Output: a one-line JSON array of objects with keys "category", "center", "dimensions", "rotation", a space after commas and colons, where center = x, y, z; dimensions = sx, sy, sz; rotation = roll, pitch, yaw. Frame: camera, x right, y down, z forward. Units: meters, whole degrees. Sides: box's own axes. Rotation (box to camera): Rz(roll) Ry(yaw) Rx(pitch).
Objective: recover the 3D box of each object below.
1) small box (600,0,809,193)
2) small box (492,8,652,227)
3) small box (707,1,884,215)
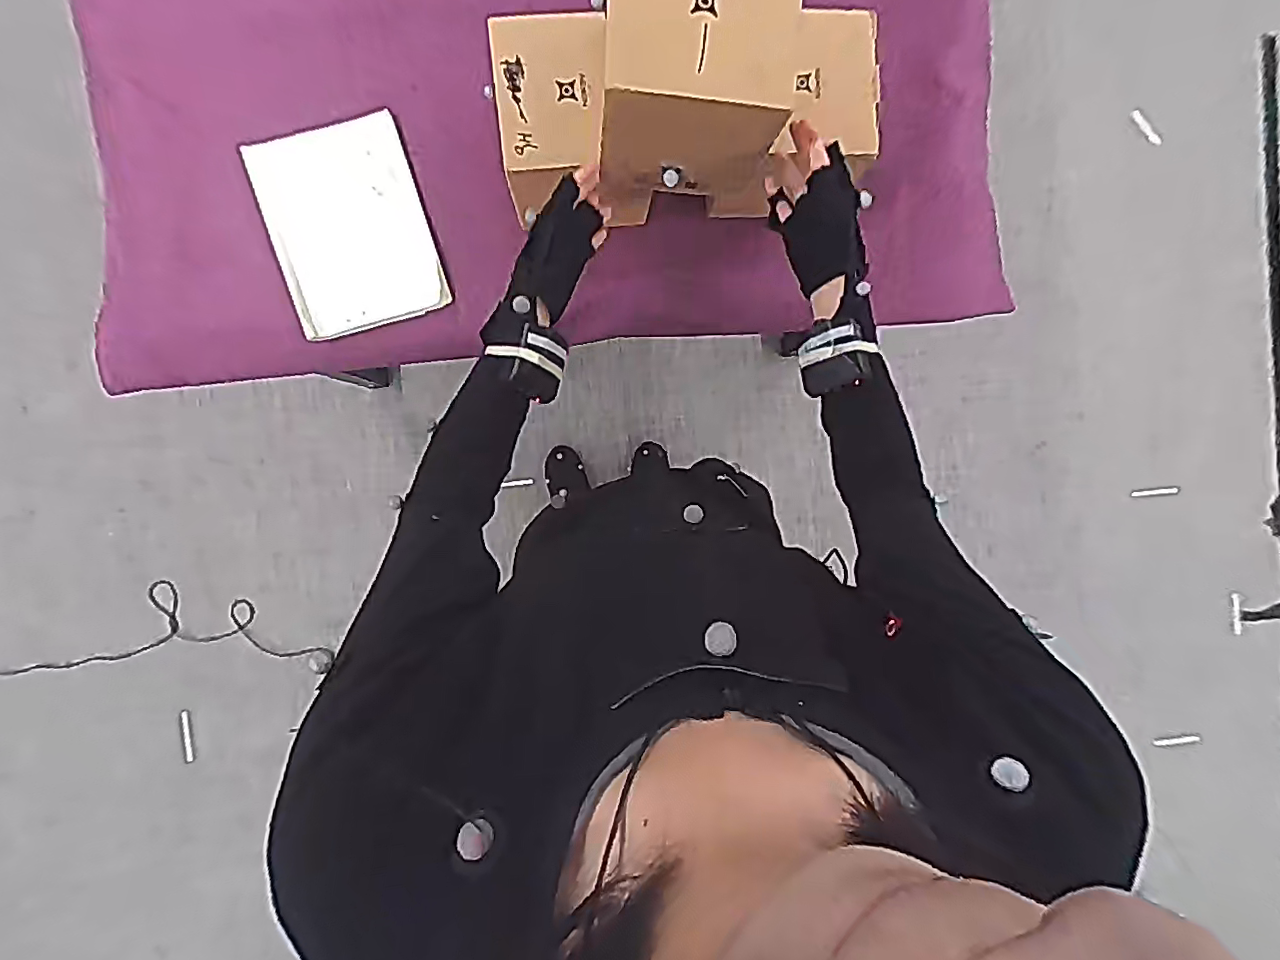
[{"category": "small box", "center": [0.050, -0.410, 0.518], "dimensions": [0.168, 0.176, 0.179], "rotation": [3, 93, -5]}, {"category": "small box", "center": [-0.076, -0.433, 0.671], "dimensions": [0.179, 0.176, 0.168], "rotation": [-6, 92, -5]}, {"category": "small box", "center": [0.187, -0.460, 0.693], "dimensions": [0.179, 0.176, 0.168], "rotation": [-2, 91, -3]}]
